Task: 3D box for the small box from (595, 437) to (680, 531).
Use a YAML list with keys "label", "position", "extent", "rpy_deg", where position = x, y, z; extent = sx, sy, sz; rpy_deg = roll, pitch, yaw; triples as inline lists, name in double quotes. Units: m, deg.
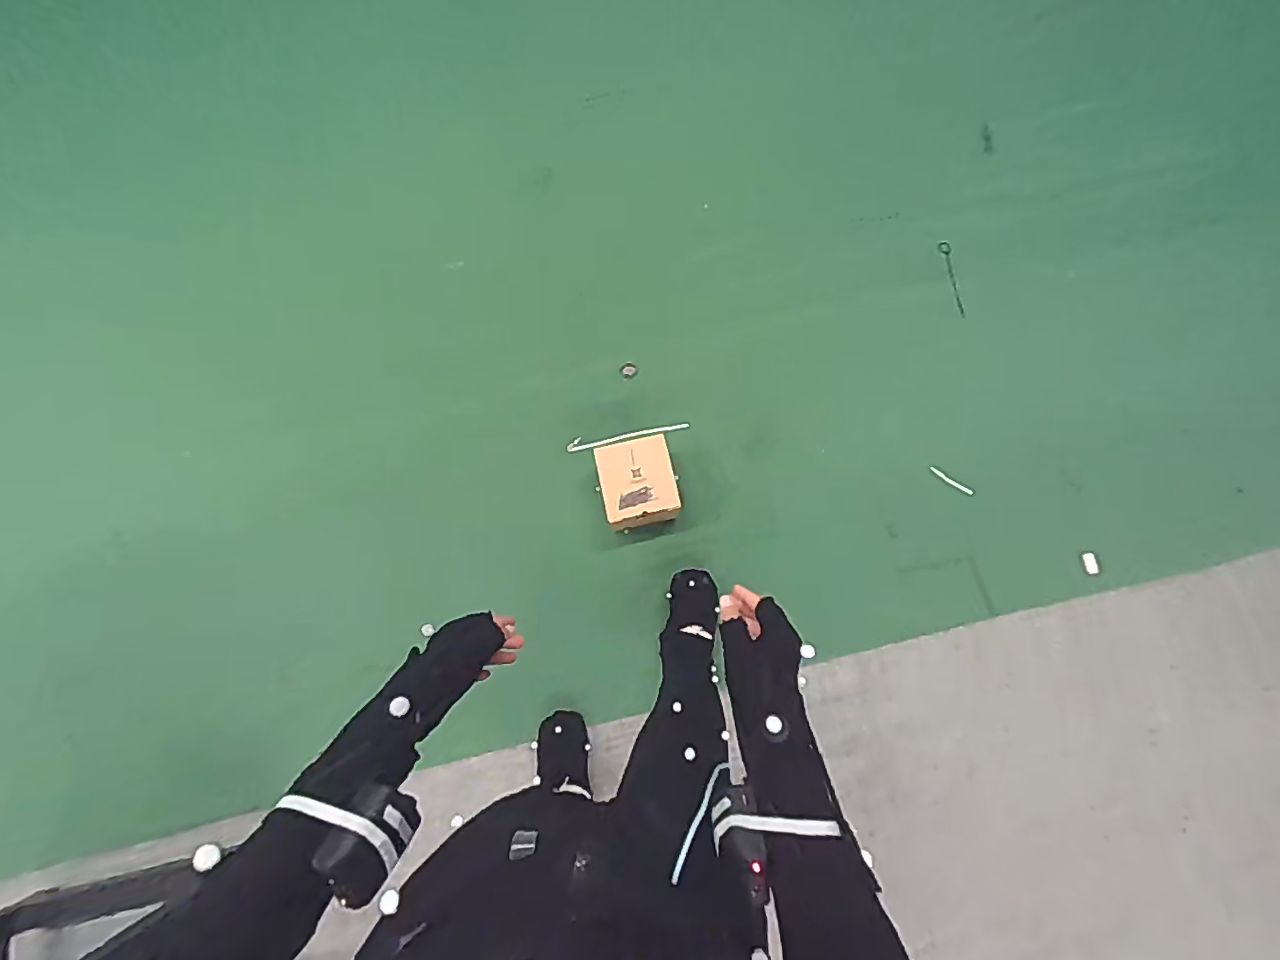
- label: "small box"
  position: [-0.005, 0.018, 1.281]
  extent: [0.168, 0.176, 0.179]
  rpy_deg: [-12, 77, -3]
